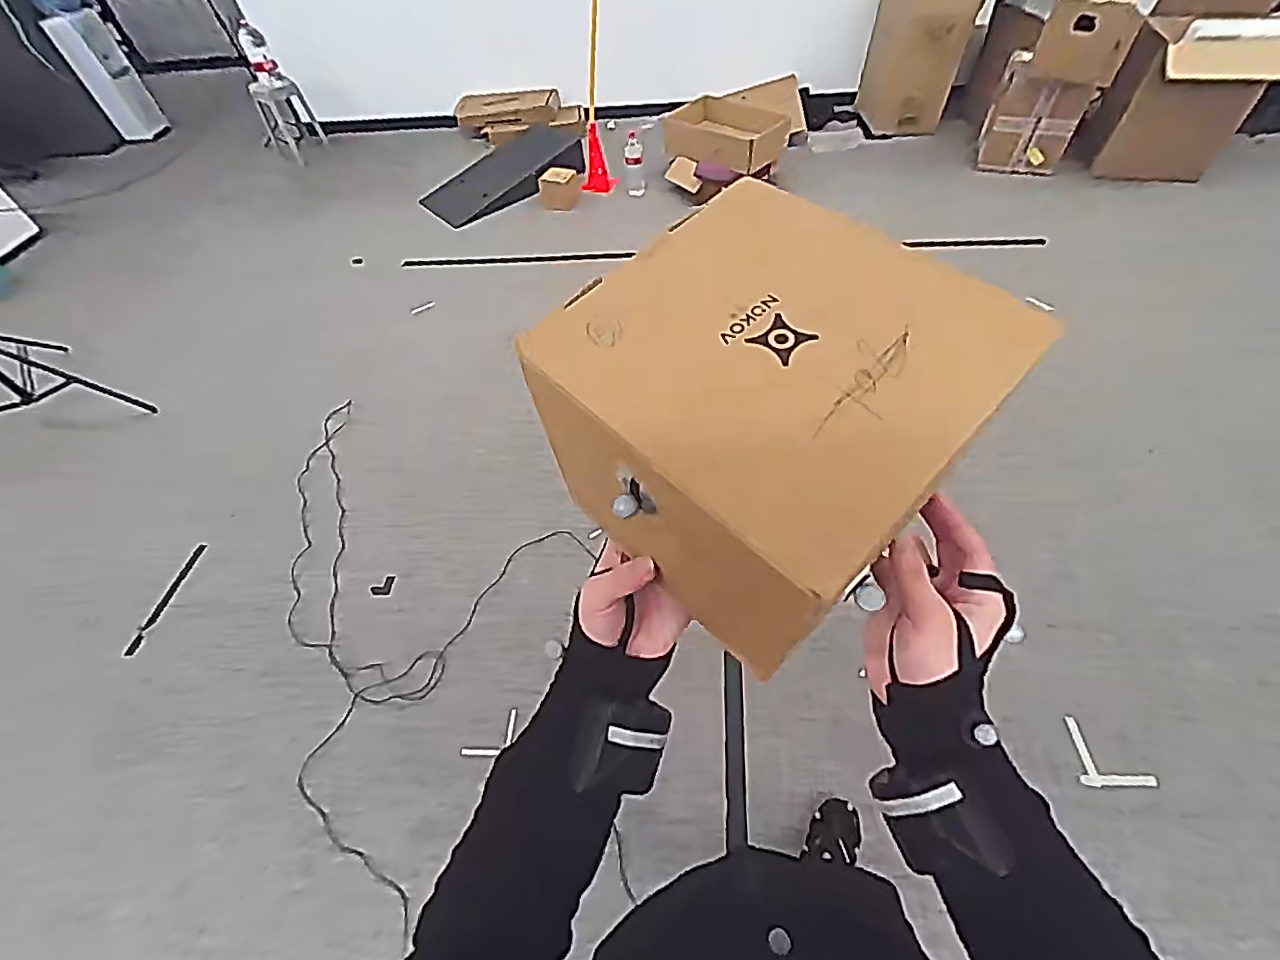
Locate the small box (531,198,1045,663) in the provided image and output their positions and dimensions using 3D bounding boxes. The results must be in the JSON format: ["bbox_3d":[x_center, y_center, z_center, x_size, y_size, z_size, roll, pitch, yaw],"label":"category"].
[{"bbox_3d":[0.068,-0.020,0.318,0.168,0.176,0.179,-42,66,-17],"label":"small box"}]
